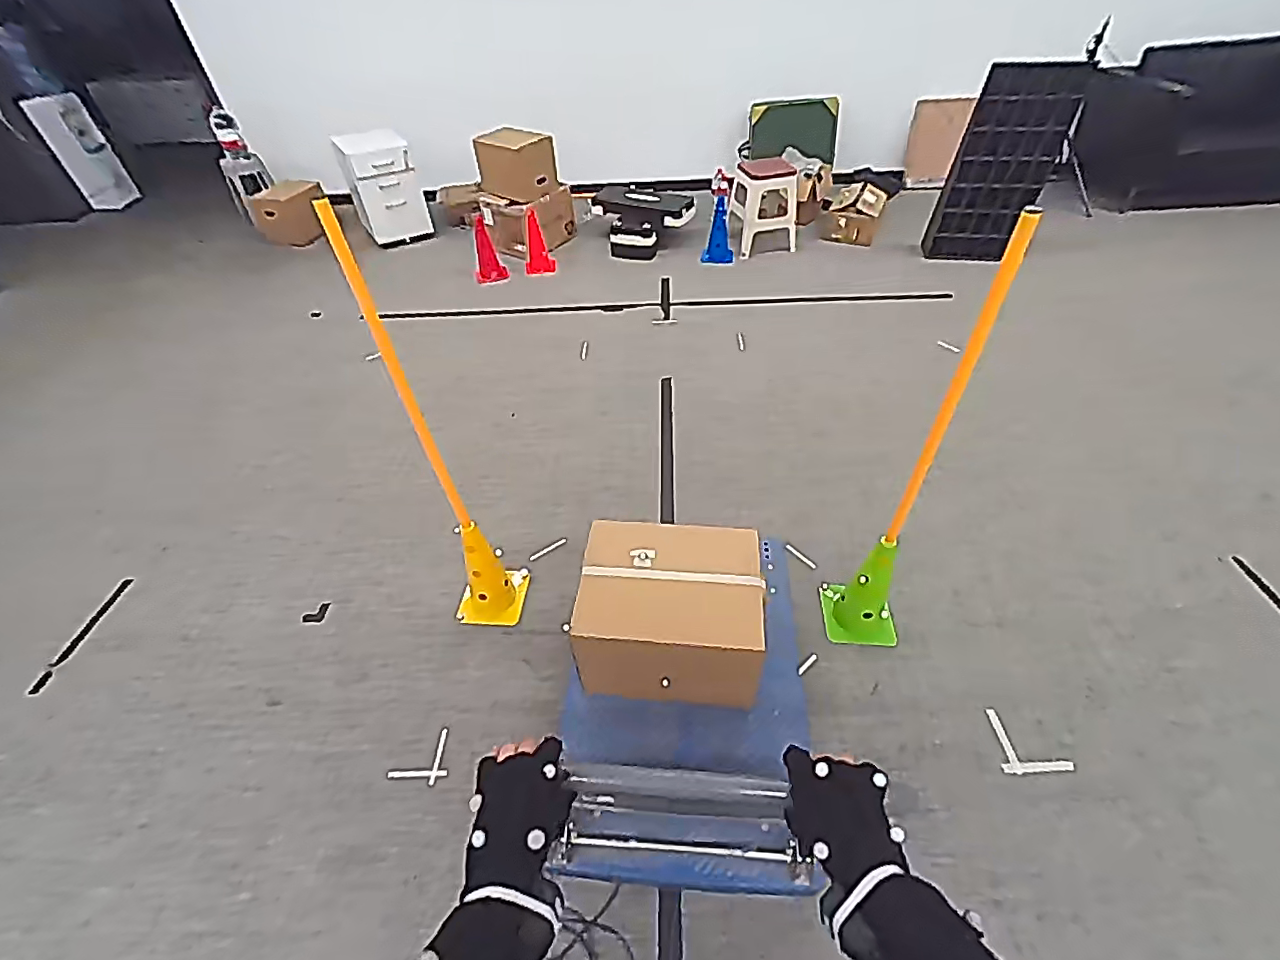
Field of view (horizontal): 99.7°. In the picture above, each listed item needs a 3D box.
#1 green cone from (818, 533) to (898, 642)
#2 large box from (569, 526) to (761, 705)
[{"bbox_3d":[0.653,0.282,1.536,0.202,0.368,0.200,3,45,4],"label":"green cone"},{"bbox_3d":[0.071,0.332,1.322,0.408,0.320,0.320,2,46,7],"label":"large box"}]
